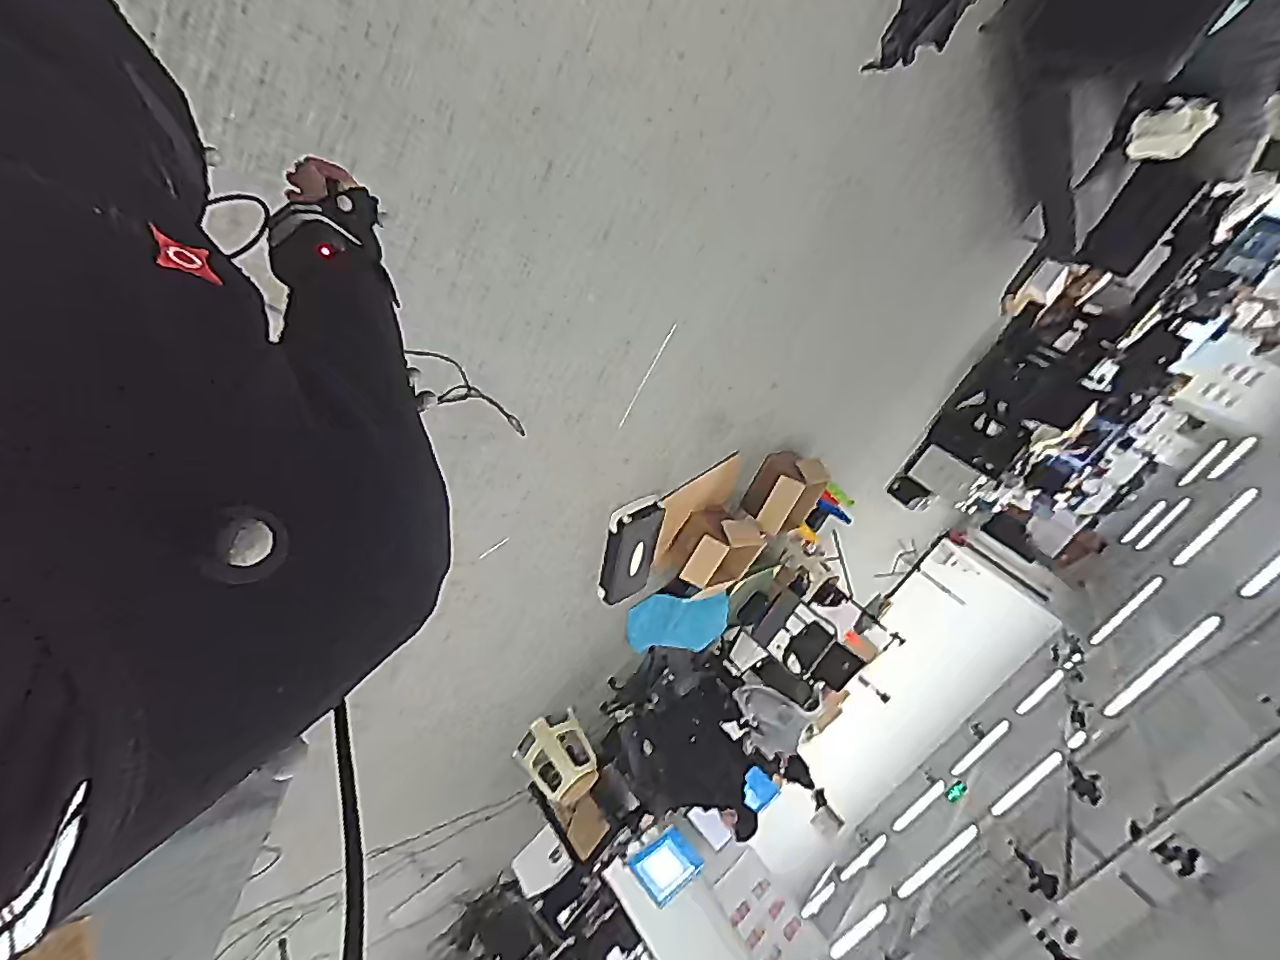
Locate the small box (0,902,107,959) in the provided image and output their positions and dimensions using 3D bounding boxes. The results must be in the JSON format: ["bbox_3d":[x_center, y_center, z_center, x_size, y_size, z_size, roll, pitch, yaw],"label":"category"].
[{"bbox_3d":[-0.931,0.793,0.812,0.179,0.176,0.168,4,124,-50],"label":"small box"}]
